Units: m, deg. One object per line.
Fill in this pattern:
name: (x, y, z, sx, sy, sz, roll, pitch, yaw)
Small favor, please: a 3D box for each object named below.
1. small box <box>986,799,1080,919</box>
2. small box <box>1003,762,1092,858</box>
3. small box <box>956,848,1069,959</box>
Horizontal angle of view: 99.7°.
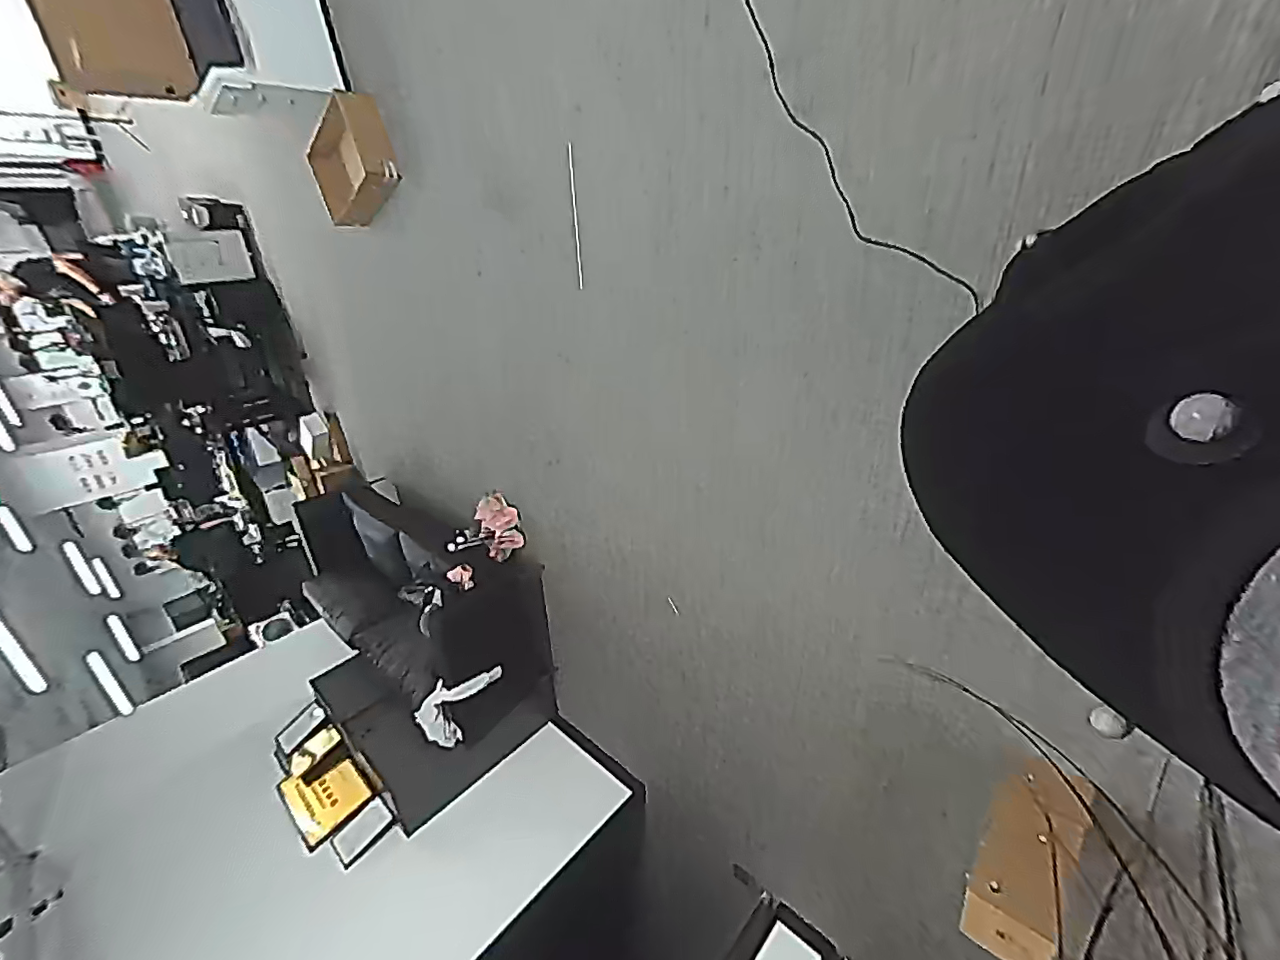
small box: (0.989, 0.962, 1.373, 0.179, 0.176, 0.168, 14, 119, 40)
small box: (1.104, 0.913, 1.480, 0.179, 0.176, 0.168, 14, 120, 40)
small box: (0.872, 1.013, 1.267, 0.179, 0.176, 0.168, 15, 121, 40)
